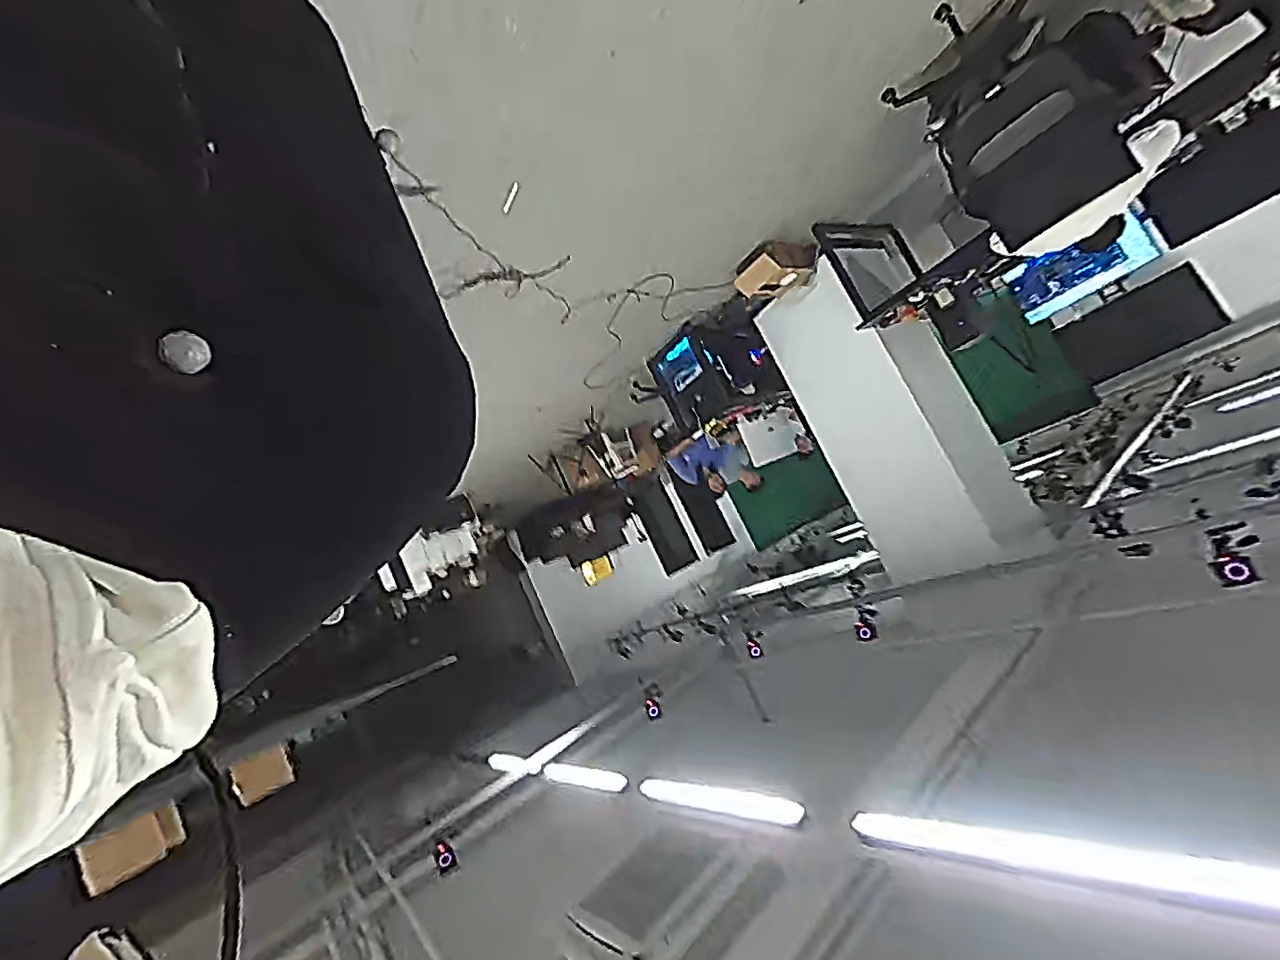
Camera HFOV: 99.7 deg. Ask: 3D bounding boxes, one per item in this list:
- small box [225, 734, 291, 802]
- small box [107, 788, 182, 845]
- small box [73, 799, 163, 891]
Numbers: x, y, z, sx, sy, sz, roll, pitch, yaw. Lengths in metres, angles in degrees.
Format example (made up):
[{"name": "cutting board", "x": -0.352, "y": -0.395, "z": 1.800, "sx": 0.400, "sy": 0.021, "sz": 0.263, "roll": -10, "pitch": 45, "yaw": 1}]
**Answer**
[{"name": "small box", "x": -1.478, "y": 1.107, "z": 2.092, "sx": 0.168, "sy": 0.176, "sz": 0.179, "roll": -21, "pitch": 172, "yaw": -39}, {"name": "small box", "x": -1.696, "y": 1.181, "z": 1.844, "sx": 0.168, "sy": 0.176, "sz": 0.179, "roll": -19, "pitch": 169, "yaw": -45}, {"name": "small box", "x": -1.604, "y": 1.113, "z": 1.665, "sx": 0.168, "sy": 0.176, "sz": 0.179, "roll": -20, "pitch": 171, "yaw": -46}]
